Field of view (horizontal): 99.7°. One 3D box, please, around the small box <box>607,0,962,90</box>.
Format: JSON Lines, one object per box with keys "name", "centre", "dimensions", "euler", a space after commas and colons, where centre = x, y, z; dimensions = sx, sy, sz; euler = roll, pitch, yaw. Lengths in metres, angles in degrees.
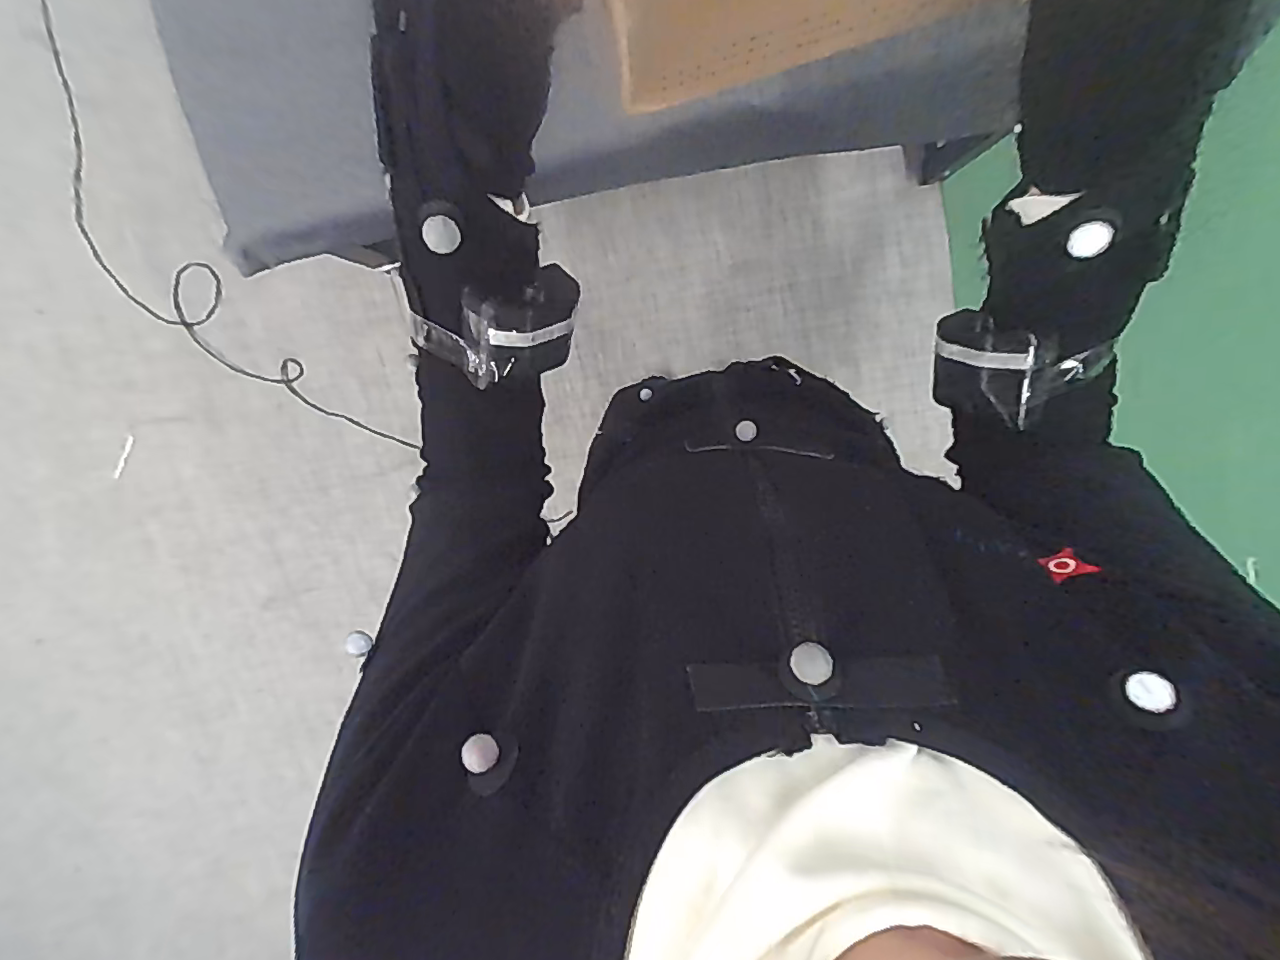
{"name": "small box", "centre": [0.055, -0.232, 0.121], "dimensions": [0.179, 0.176, 0.168], "euler": [-15, 102, 6]}
